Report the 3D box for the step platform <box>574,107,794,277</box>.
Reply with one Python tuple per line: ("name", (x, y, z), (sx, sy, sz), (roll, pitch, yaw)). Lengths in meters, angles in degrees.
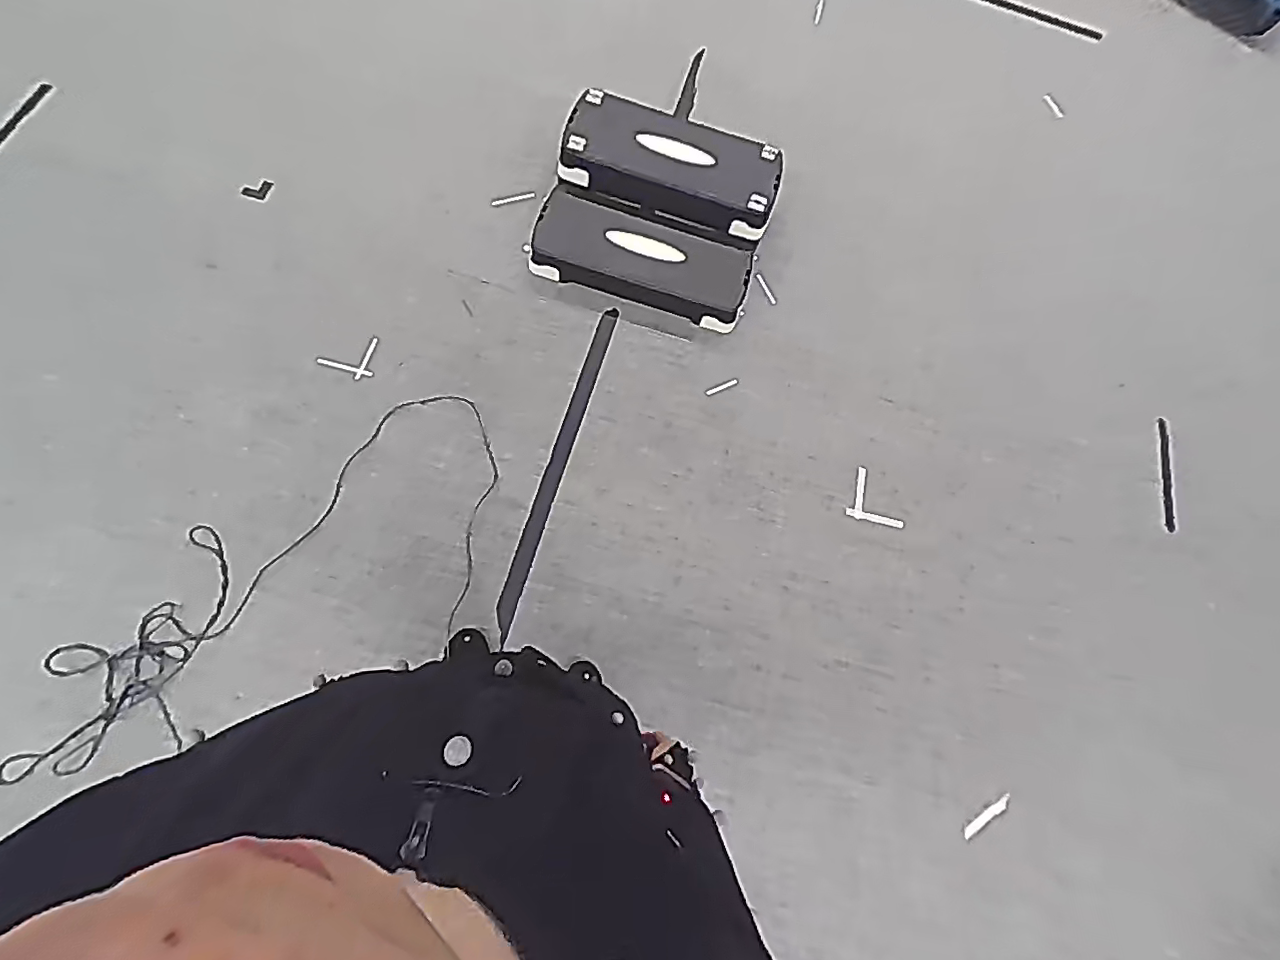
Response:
("step platform", (0.137, -0.922, 1.736), (0.684, 0.204, 0.286), (21, 71, 0))
